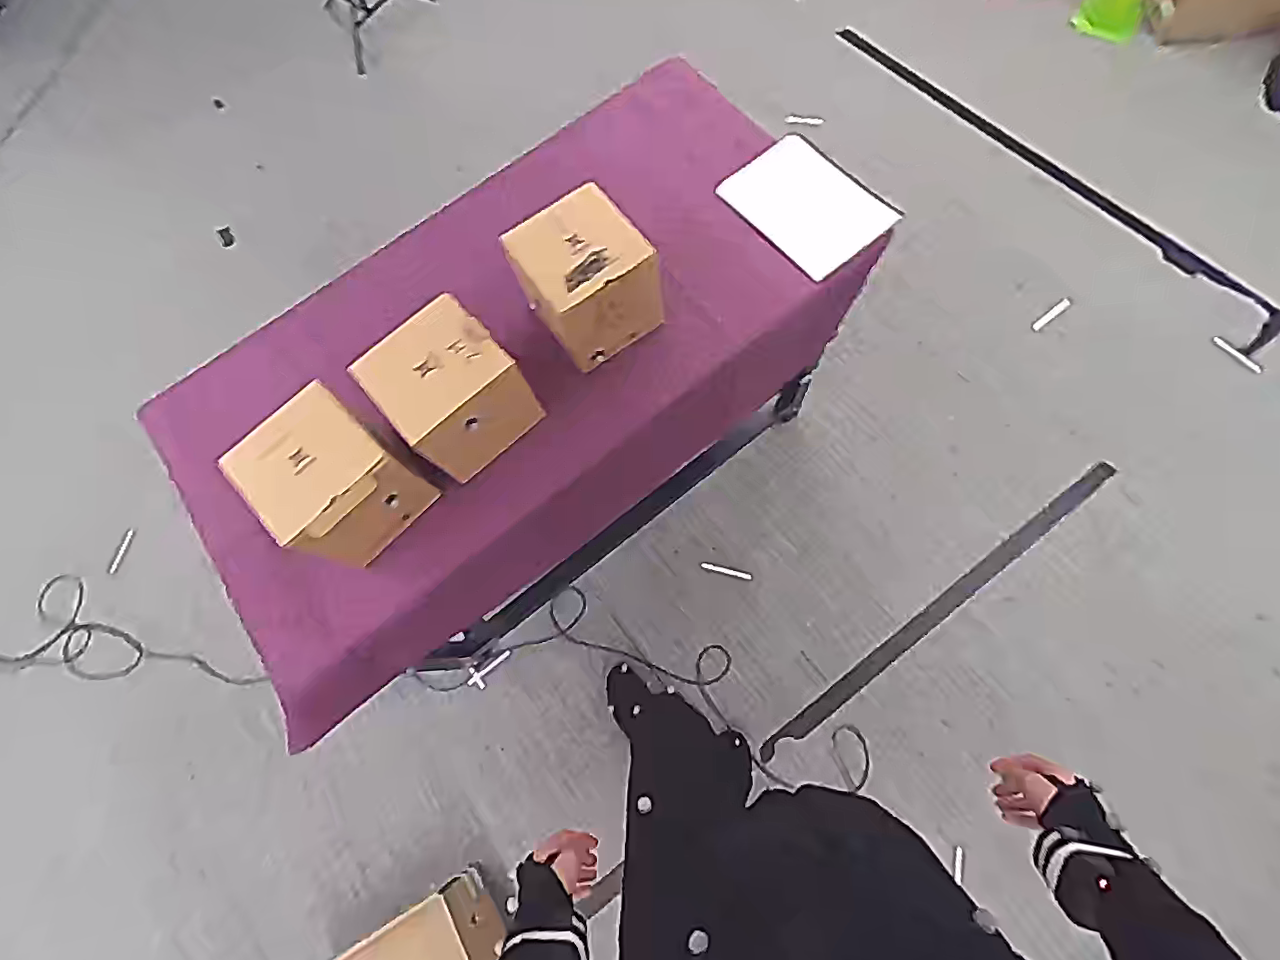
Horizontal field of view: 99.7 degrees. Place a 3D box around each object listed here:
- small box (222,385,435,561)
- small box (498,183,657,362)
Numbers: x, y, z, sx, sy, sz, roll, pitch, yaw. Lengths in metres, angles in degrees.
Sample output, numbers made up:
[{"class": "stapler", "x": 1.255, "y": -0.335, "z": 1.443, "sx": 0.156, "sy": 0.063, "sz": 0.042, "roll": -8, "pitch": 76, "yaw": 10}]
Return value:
[{"class": "small box", "x": -0.437, "y": 0.001, "z": 0.790, "sx": 0.179, "sy": 0.176, "sz": 0.168, "roll": 42, "pitch": 80, "yaw": 17}, {"class": "small box", "x": -0.087, "y": -0.311, "z": 0.852, "sx": 0.168, "sy": 0.176, "sz": 0.179, "roll": -35, "pitch": 71, "yaw": -6}]
